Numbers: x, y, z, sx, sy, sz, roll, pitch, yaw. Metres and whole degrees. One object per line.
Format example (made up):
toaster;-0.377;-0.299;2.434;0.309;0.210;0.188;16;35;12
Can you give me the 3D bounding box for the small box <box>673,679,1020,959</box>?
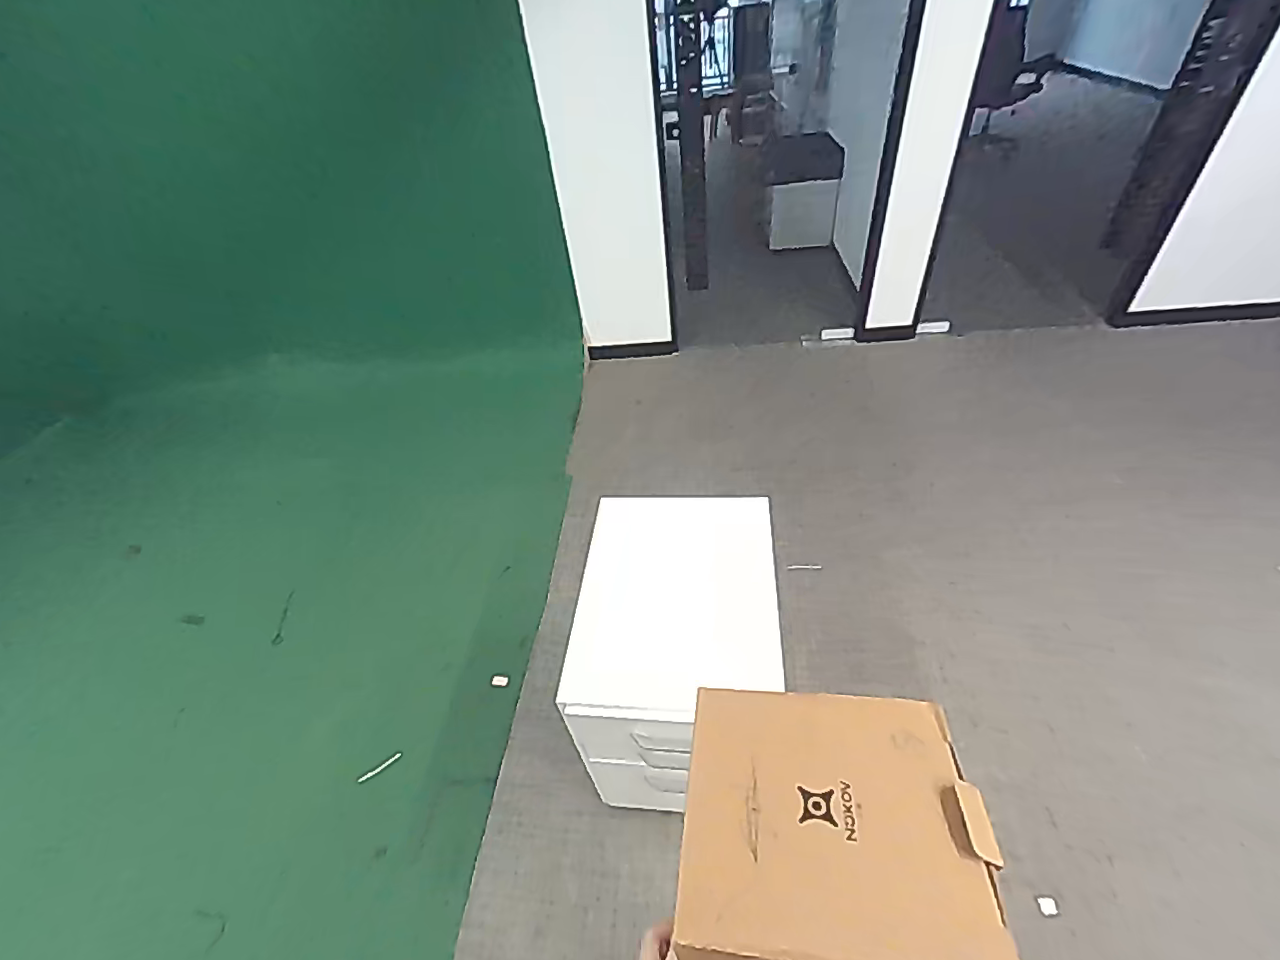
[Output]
small box;0.129;0.269;0.386;0.179;0.176;0.168;-3;32;14
